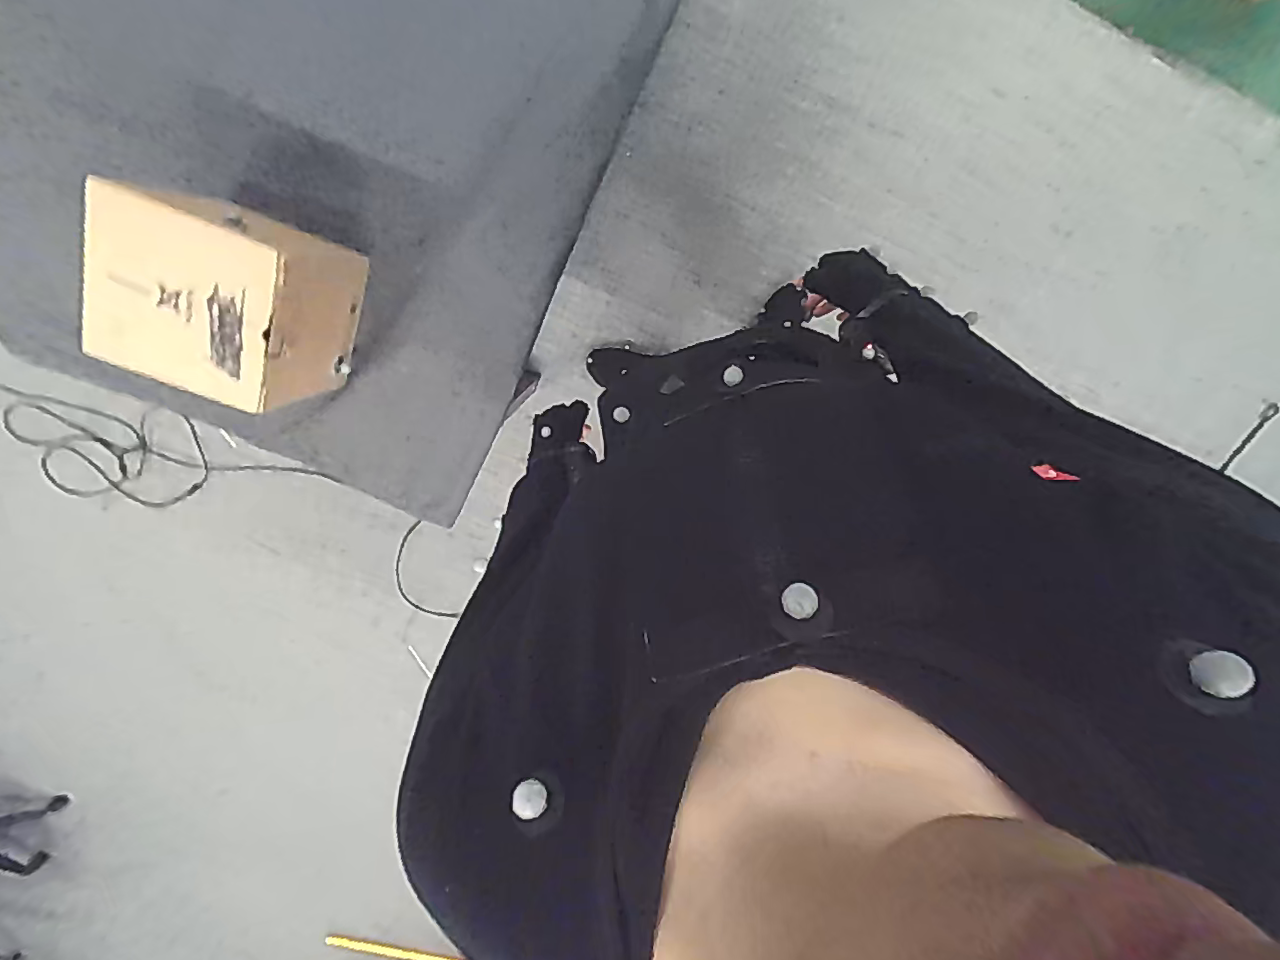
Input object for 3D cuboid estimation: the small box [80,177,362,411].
[{"bbox_3d":[-0.432,-0.196,0.582,0.179,0.176,0.168,21,109,-5],"label":"small box"}]
